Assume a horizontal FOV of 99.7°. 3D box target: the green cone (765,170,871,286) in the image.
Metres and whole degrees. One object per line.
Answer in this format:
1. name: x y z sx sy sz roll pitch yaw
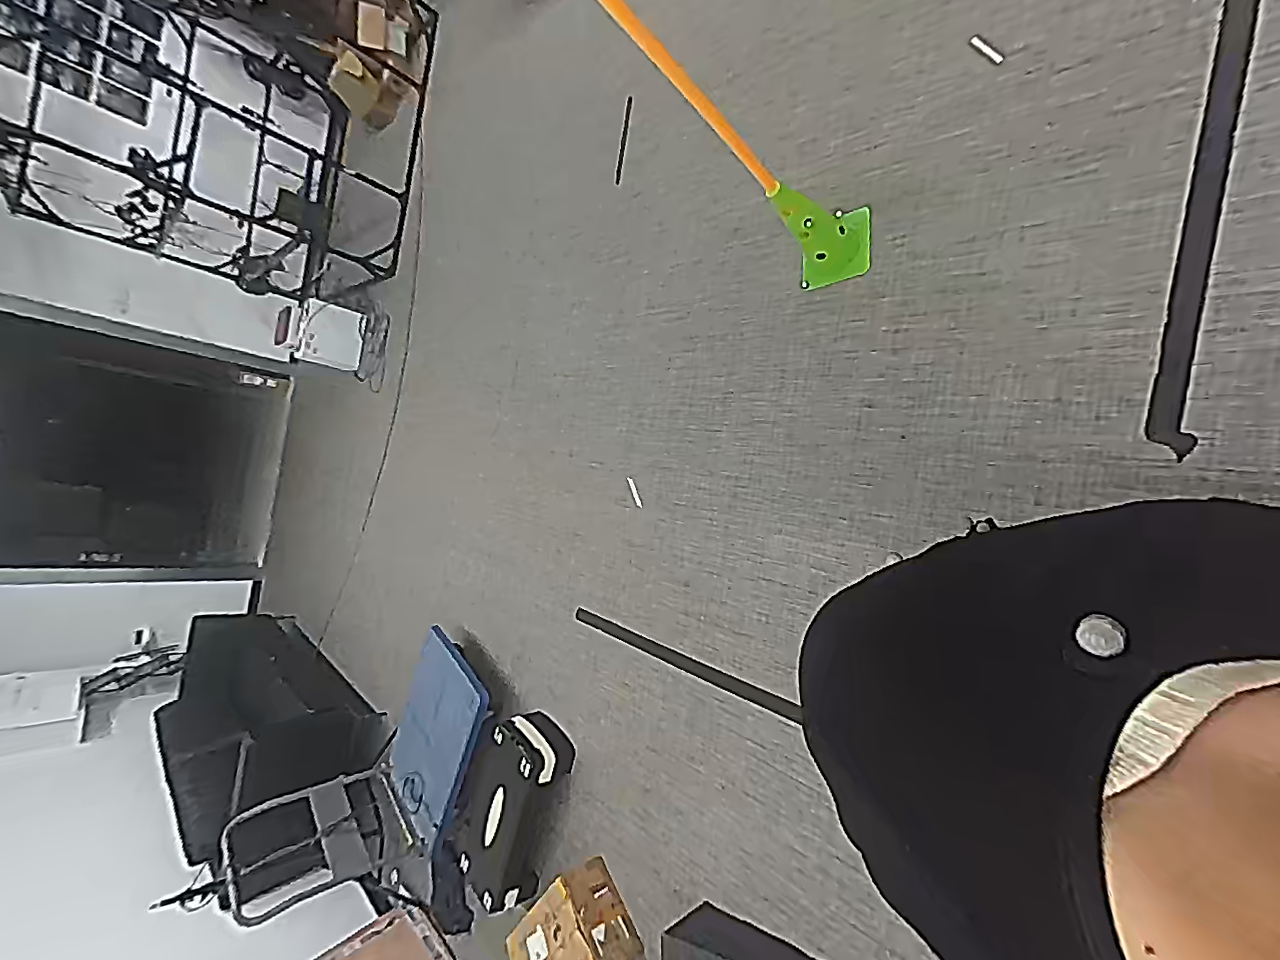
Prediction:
1. green cone: 0.447 -0.699 1.434 0.200 0.368 0.202 -5 78 44
